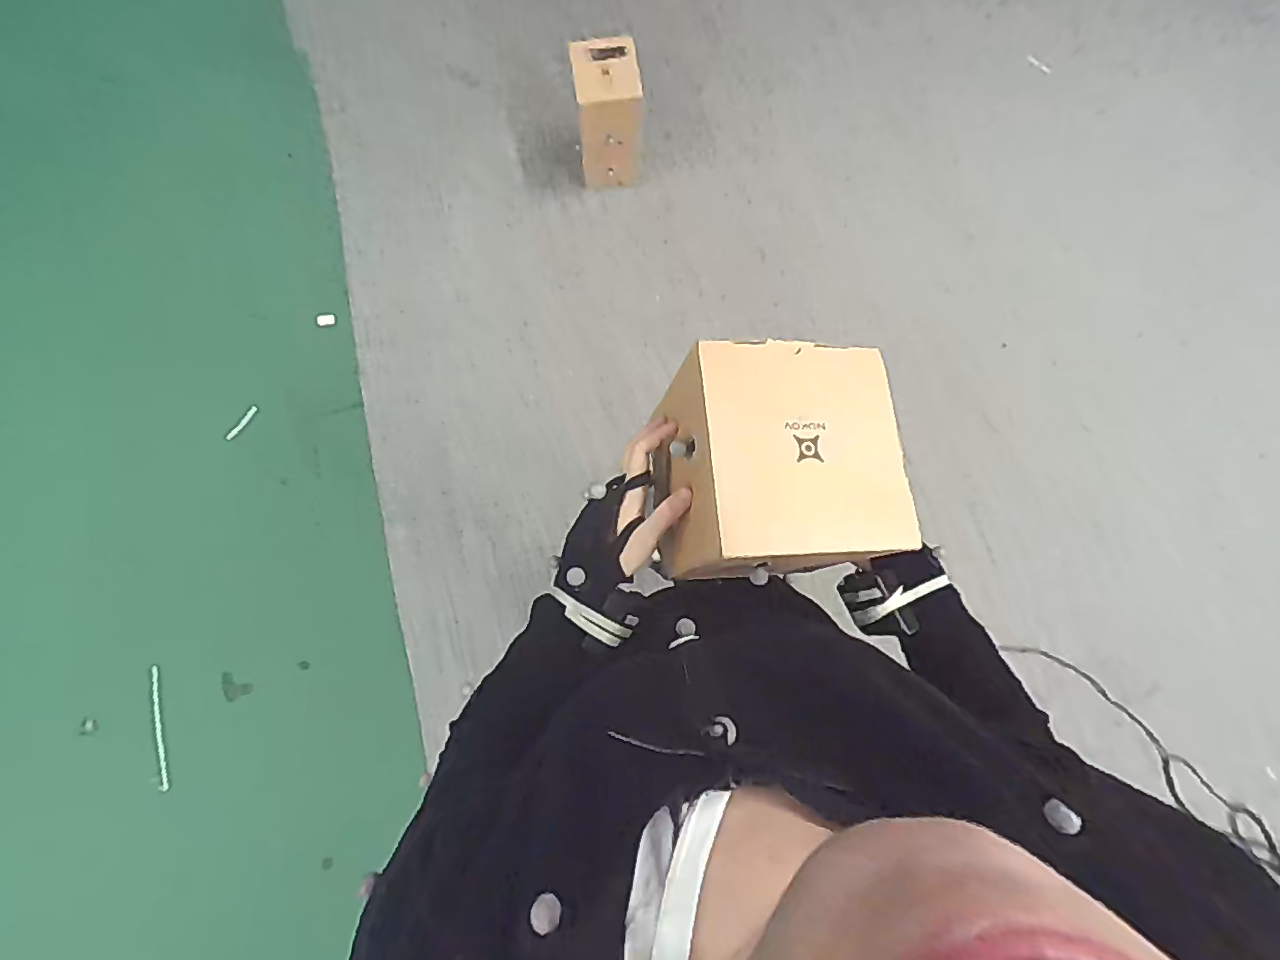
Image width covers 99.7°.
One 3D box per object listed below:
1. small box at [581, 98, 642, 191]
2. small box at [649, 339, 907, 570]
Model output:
[{"bbox_3d":[-0.080,-0.980,1.596,0.168,0.176,0.179,-6,82,-2],"label":"small box"},{"bbox_3d":[0.109,-0.010,0.502,0.168,0.176,0.179,-1,75,-12],"label":"small box"}]
